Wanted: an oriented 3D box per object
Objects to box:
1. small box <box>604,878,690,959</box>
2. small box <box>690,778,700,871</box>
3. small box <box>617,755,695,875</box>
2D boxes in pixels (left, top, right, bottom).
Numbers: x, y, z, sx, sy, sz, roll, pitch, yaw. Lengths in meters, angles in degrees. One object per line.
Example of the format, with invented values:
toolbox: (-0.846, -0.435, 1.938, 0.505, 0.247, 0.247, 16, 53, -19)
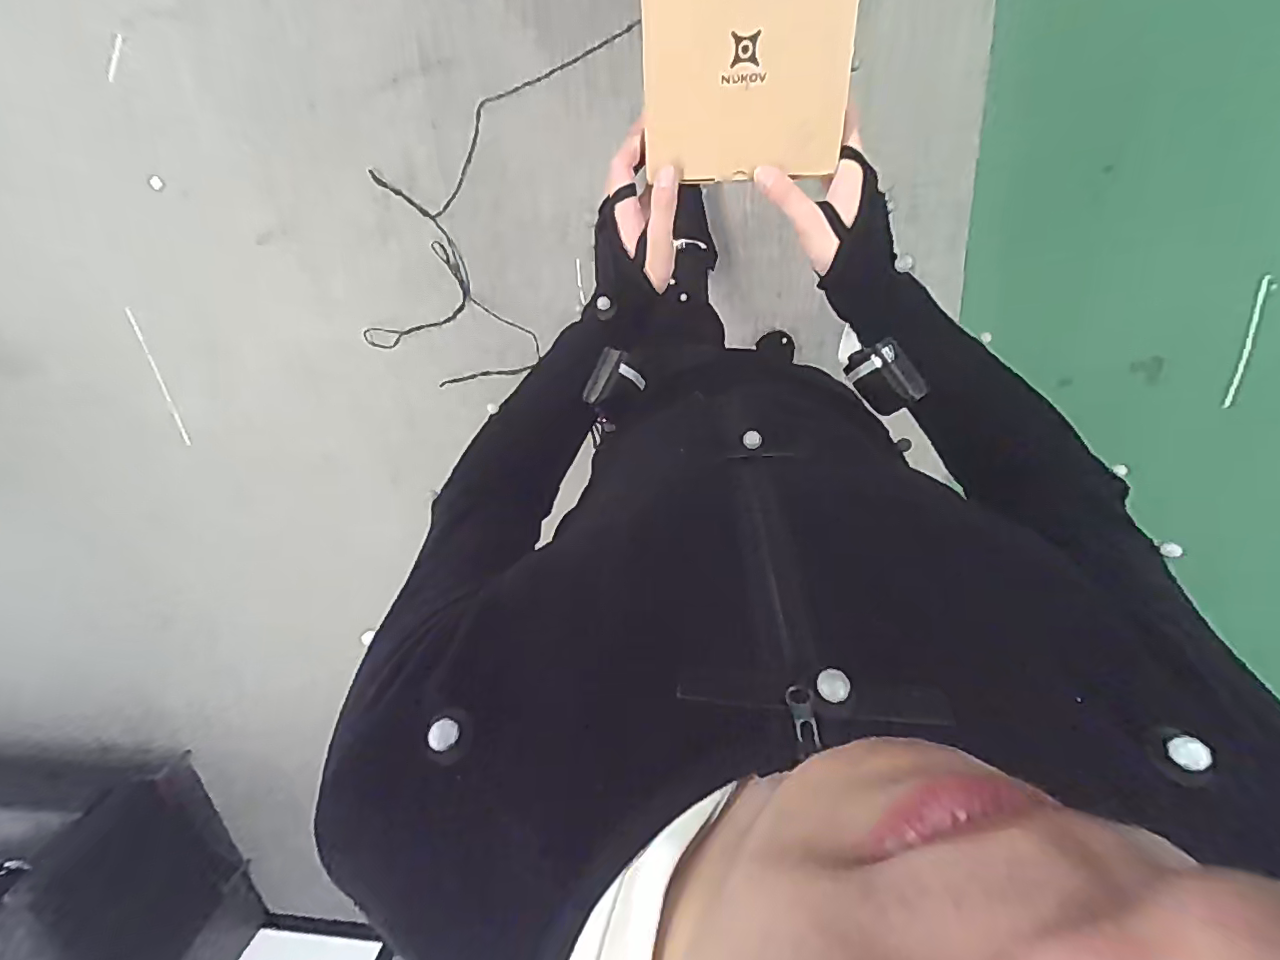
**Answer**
small box: (0.023, 1.051, 1.229, 0.168, 0.176, 0.179, -2, 109, 11)
small box: (0.082, 0.964, 1.542, 0.168, 0.176, 0.179, 0, 109, 11)
small box: (0.043, 0.793, 1.294, 0.168, 0.176, 0.179, 1, 112, 10)
